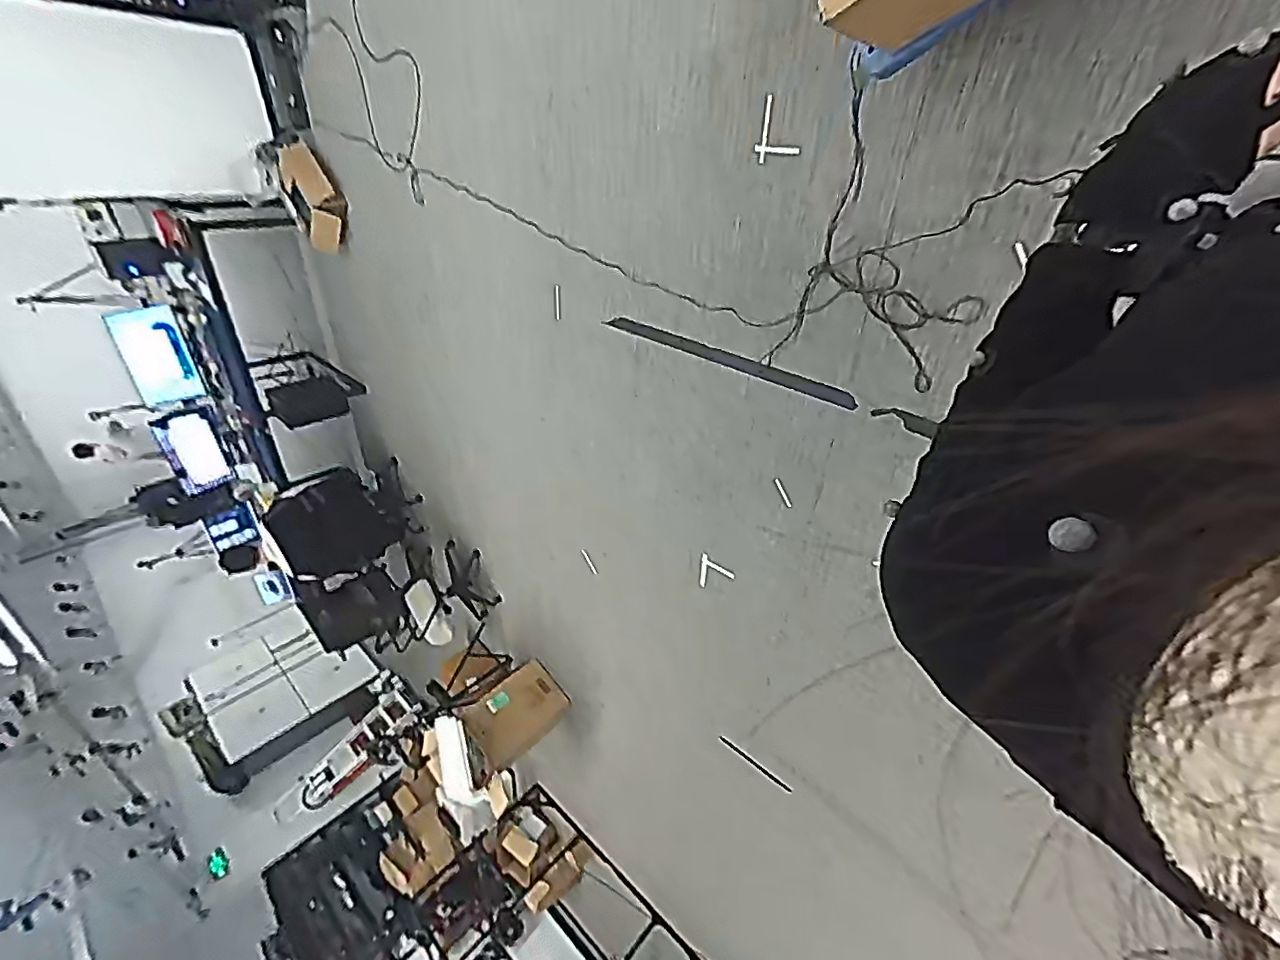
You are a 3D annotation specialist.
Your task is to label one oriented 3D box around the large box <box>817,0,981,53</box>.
[{"bbox_3d":[0.481,-0.922,0.780,0.408,0.320,0.320,-4,107,47],"label":"large box"}]
